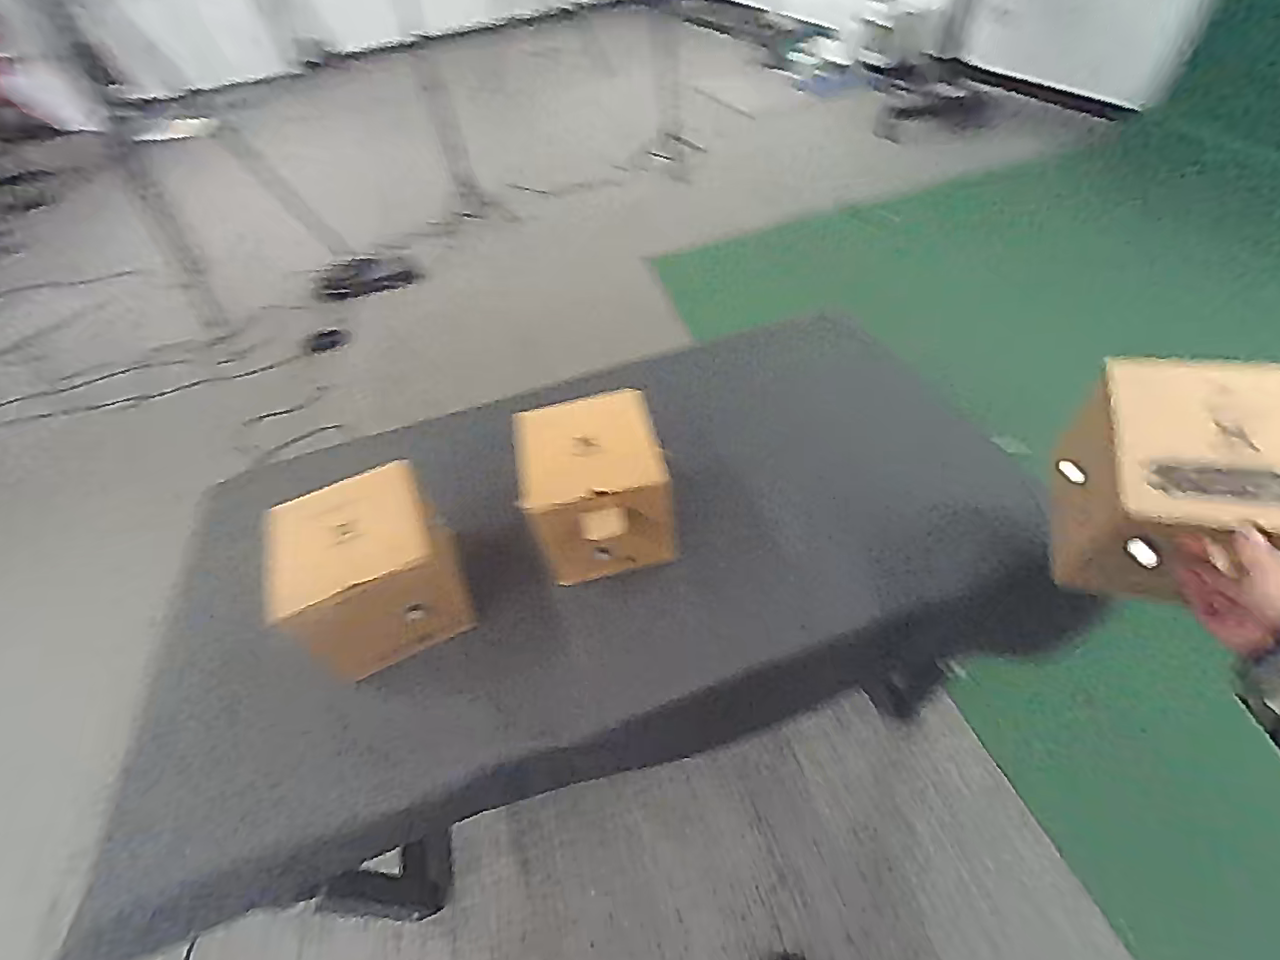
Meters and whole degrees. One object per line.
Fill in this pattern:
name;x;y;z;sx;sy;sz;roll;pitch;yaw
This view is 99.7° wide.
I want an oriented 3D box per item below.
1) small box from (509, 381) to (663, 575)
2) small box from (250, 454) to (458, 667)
small box;-0.070;-0.001;0.724;0.168;0.176;0.179;-13;49;-4
small box;-0.344;0.106;0.669;0.168;0.176;0.179;-24;49;-14
